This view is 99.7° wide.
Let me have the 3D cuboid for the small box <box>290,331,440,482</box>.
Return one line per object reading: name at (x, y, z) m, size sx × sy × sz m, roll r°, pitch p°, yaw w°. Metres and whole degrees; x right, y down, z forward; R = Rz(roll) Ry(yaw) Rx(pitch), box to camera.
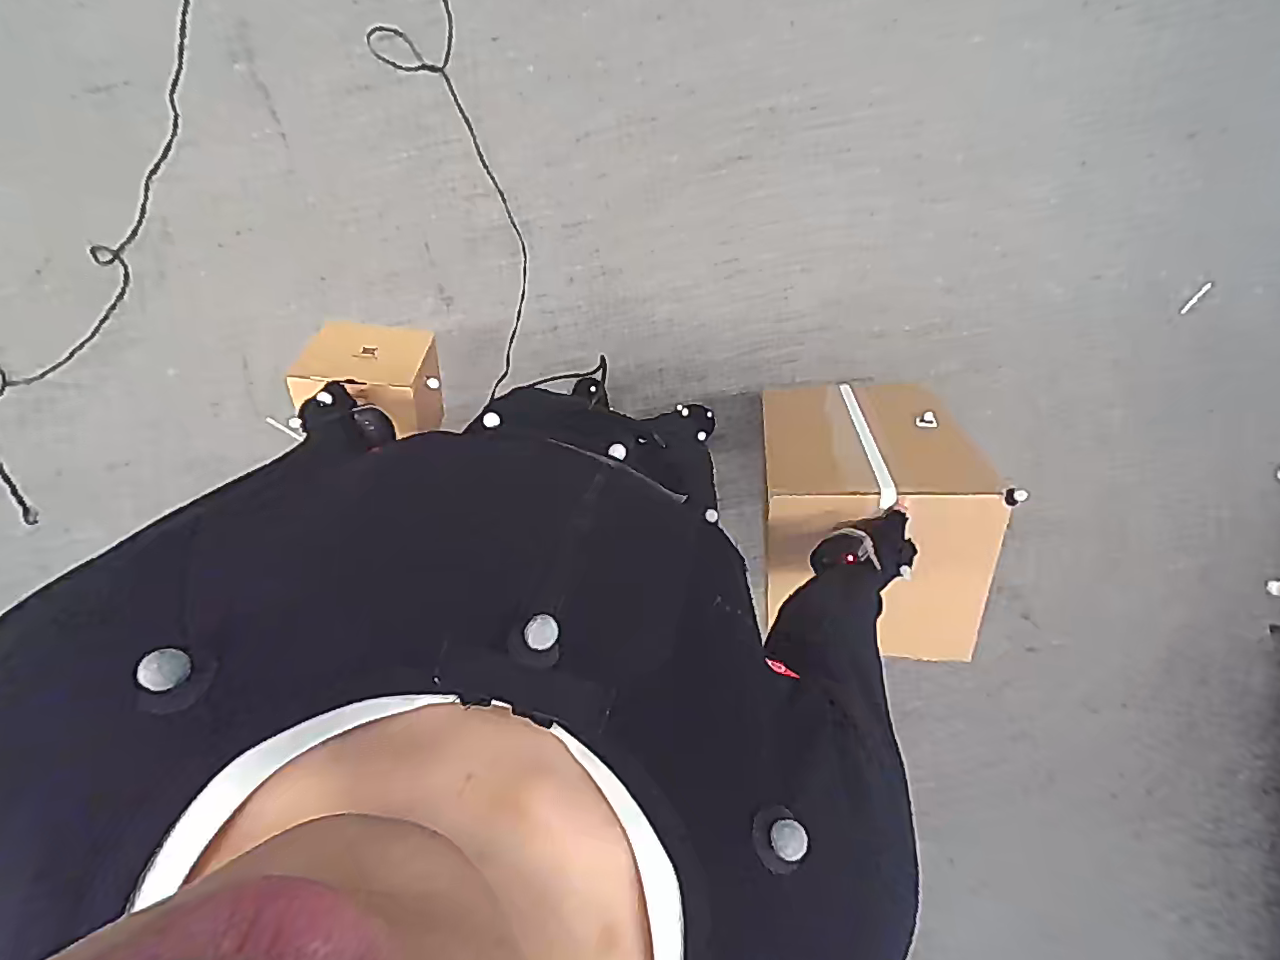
small box at (-0.425, -0.119, 0.873) m, size 0.168 × 0.179 × 0.176 m, roll 3°, pitch 130°, yaw -9°
